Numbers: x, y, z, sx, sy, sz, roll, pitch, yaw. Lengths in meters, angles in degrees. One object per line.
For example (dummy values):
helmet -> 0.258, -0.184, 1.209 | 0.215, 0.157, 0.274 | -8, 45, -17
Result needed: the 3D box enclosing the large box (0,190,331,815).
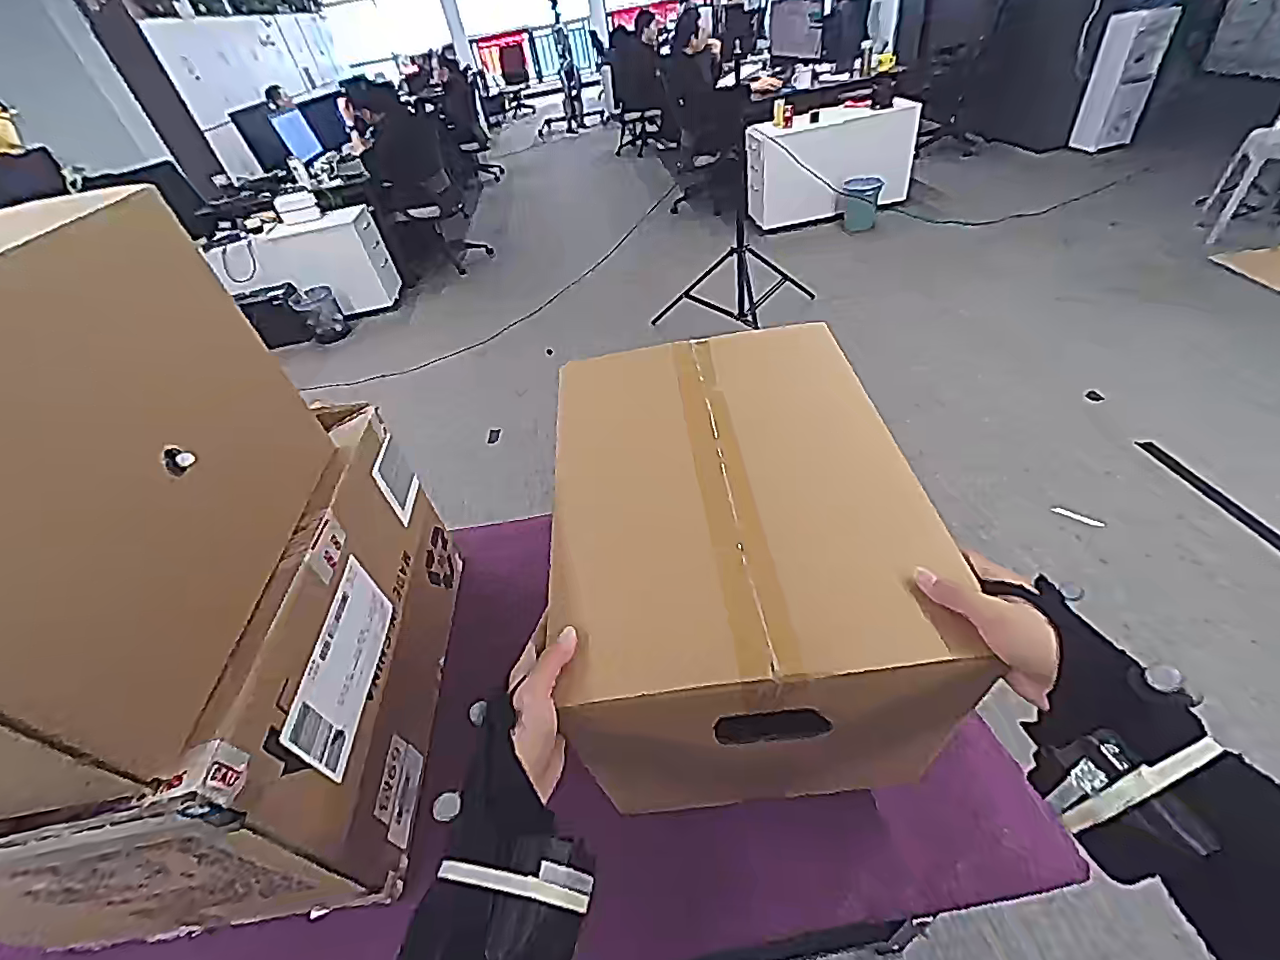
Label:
large box -> -0.525, 0.009, 0.439 | 0.320, 0.320, 0.408 | -13, 42, 1
